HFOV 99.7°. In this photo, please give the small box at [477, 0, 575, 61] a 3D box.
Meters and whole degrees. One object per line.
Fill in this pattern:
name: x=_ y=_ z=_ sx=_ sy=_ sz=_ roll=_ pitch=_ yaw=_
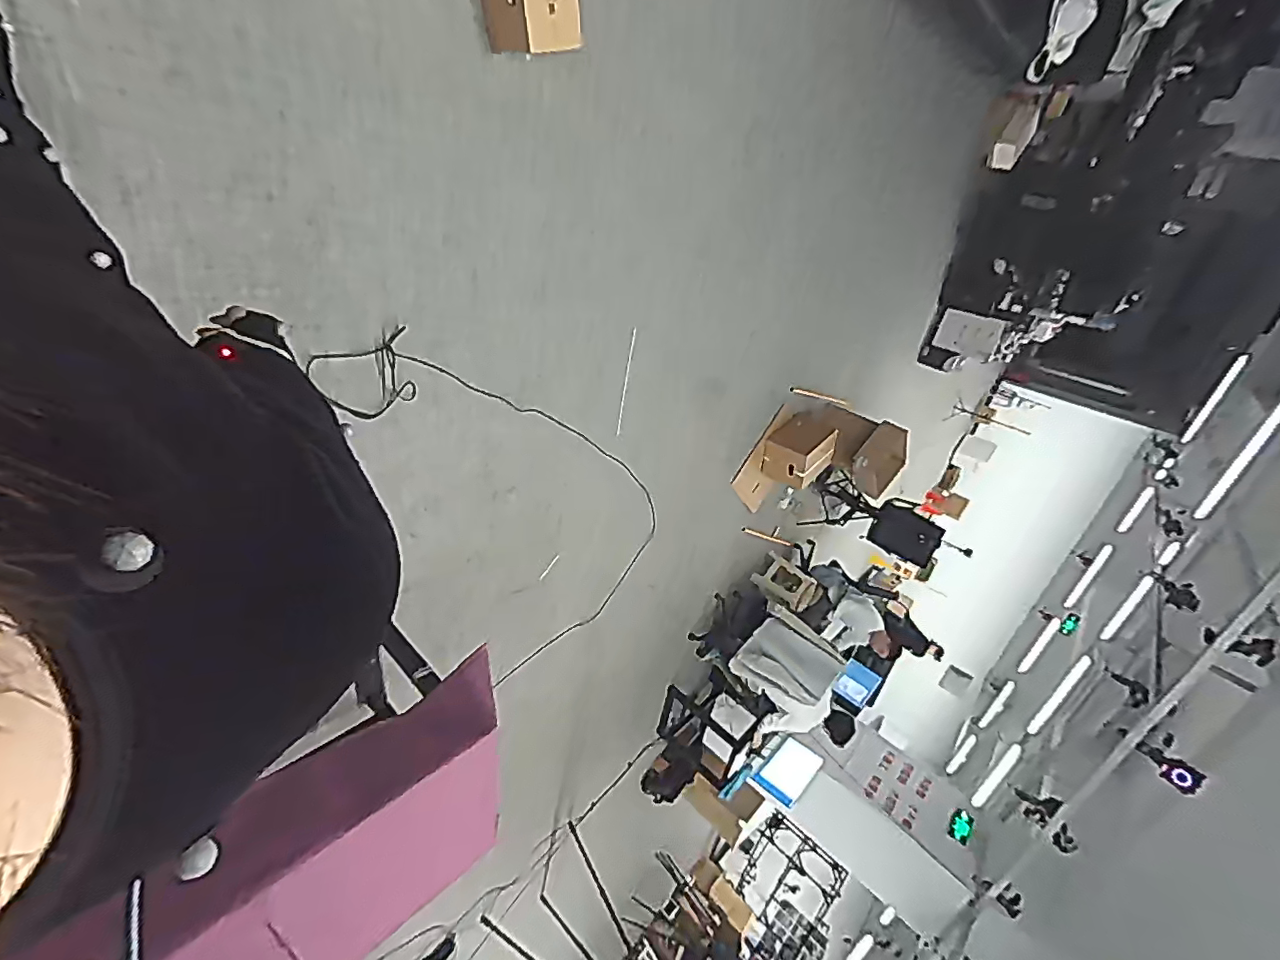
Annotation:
small box: x=-0.284 y=-1.148 z=1.328 sx=0.168 sy=0.176 sz=0.179 roll=-36 pitch=141 yaw=-32
